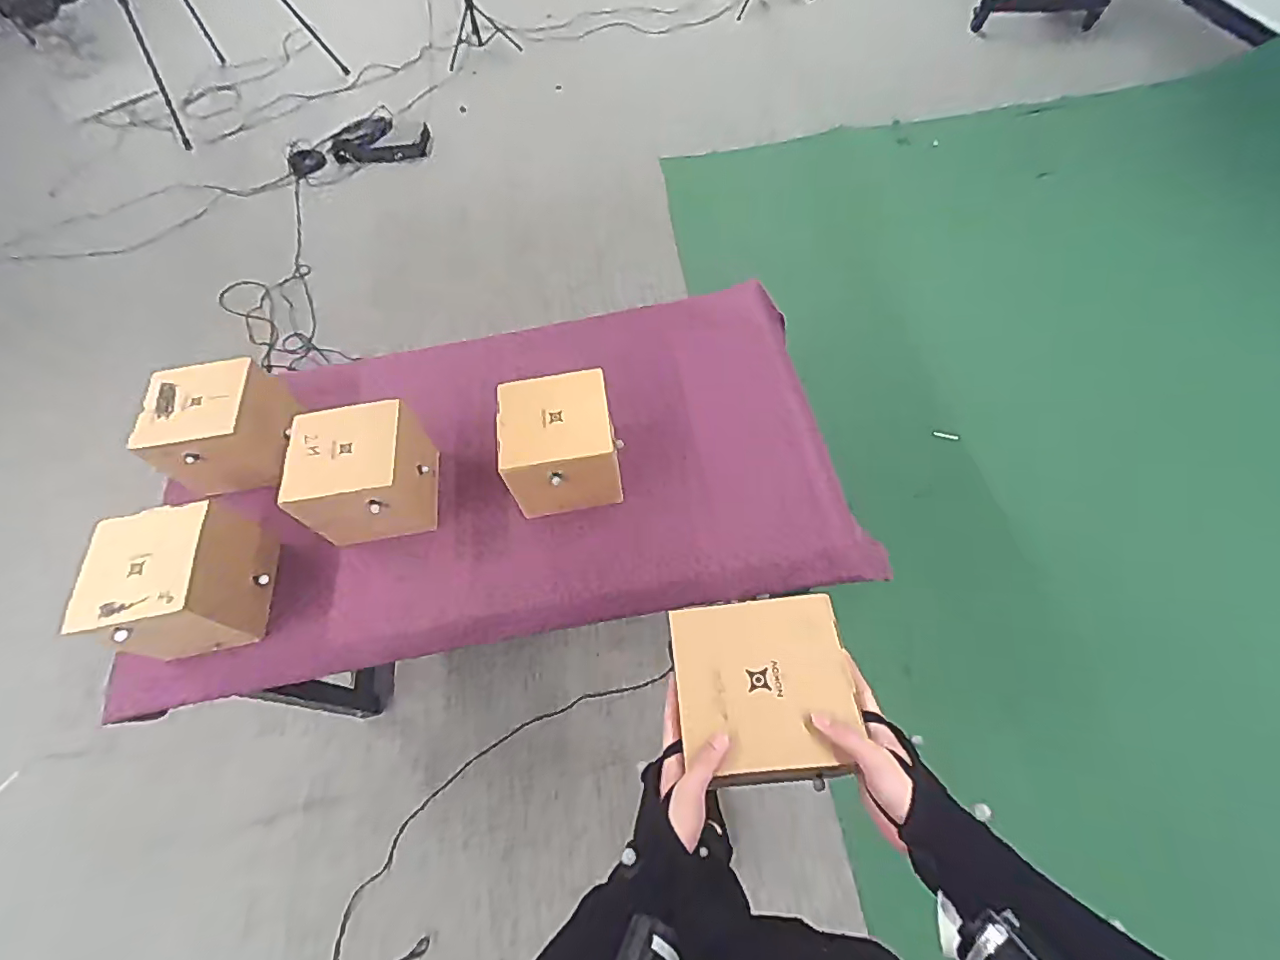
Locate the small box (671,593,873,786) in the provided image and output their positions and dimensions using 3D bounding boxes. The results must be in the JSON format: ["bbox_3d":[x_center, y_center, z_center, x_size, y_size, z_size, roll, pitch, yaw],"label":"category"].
[{"bbox_3d":[0.134,0.240,0.604,0.179,0.176,0.168,-8,56,5],"label":"small box"}]

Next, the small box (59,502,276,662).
[{"bbox_3d":[-0.697,0.160,0.827,0.168,0.176,0.179,-11,60,-1],"label":"small box"}]

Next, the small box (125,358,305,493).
[{"bbox_3d":[-0.741,-0.090,0.969,0.179,0.176,0.168,-9,62,-1],"label":"small box"}]

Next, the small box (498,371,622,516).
[{"bbox_3d":[-0.126,-0.055,0.901,0.179,0.176,0.168,-10,61,0],"label":"small box"}]

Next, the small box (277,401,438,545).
[{"bbox_3d":[-0.452,-0.006,0.899,0.179,0.176,0.168,-9,61,0],"label":"small box"}]
